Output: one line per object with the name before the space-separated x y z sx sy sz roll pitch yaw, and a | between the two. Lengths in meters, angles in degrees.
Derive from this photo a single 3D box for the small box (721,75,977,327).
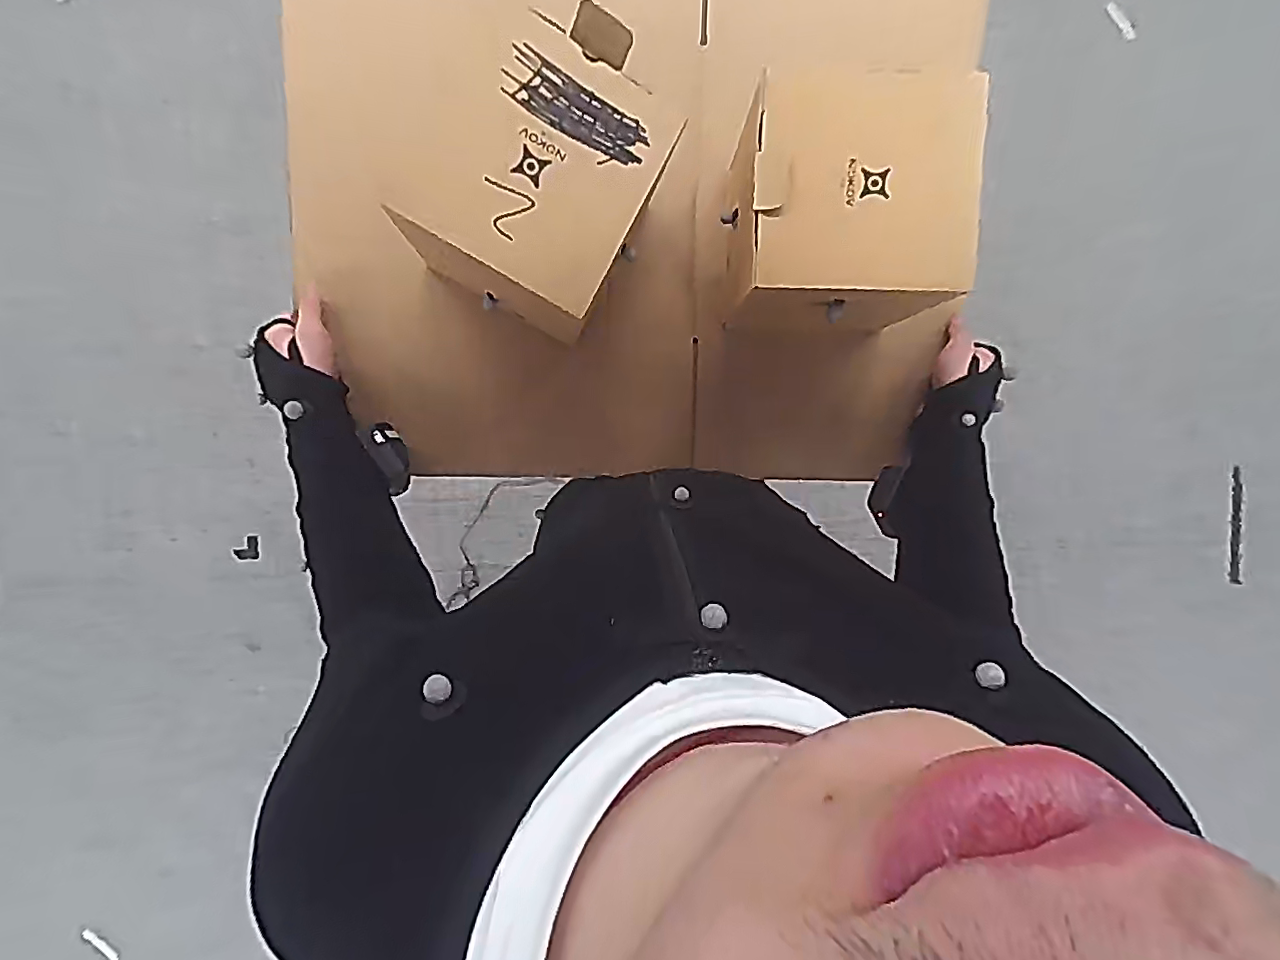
small box | 0.179 -0.246 0.516 0.179 0.176 0.168 1 96 1
